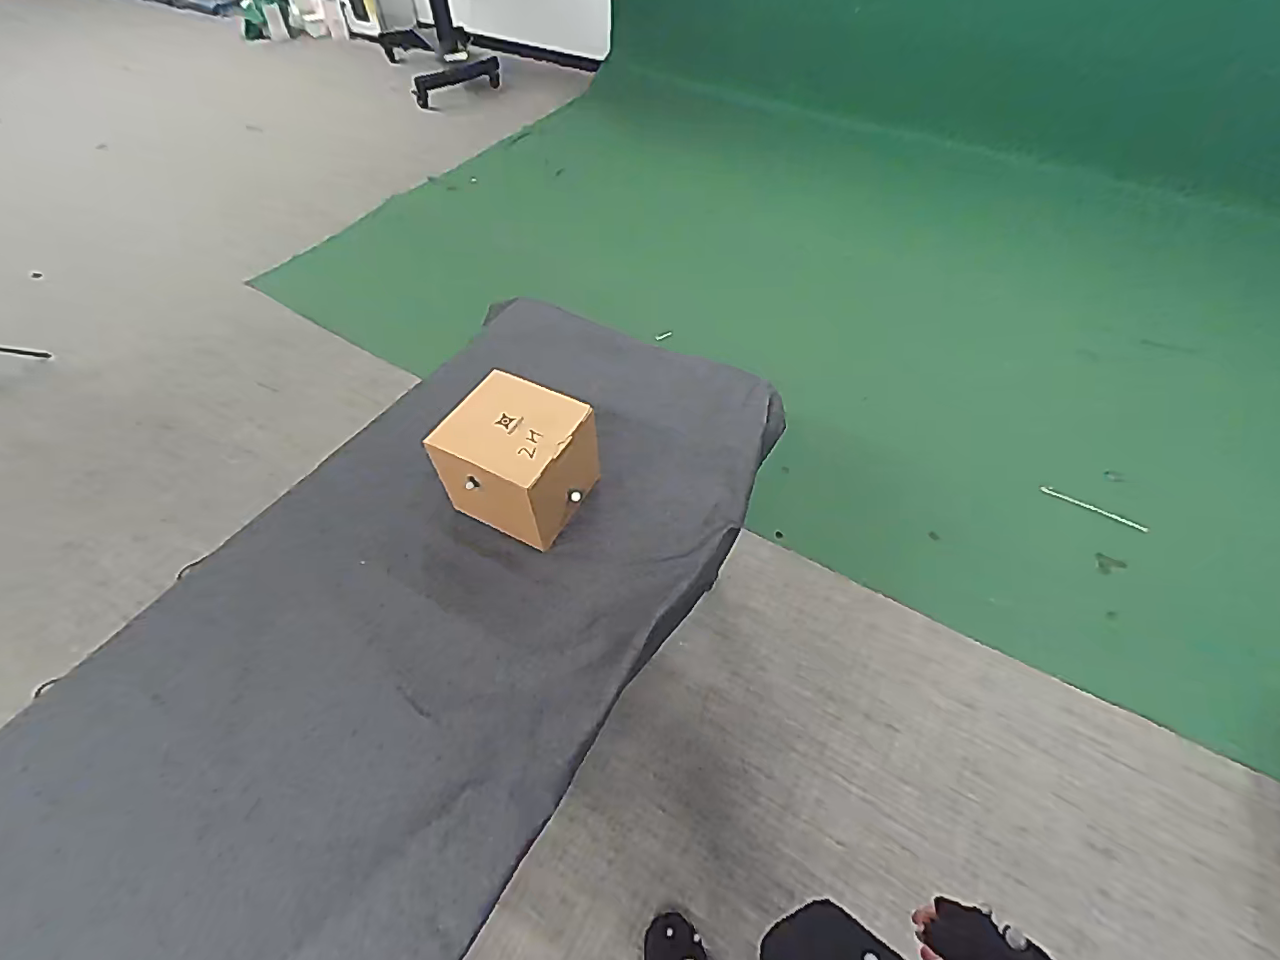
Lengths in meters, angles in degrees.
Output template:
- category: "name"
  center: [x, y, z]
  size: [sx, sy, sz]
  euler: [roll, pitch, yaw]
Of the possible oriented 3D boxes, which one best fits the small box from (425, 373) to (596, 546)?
- category: "small box"
  center: [-0.182, -0.027, 0.816]
  size: [0.179, 0.176, 0.168]
  euler: [23, 57, 15]
